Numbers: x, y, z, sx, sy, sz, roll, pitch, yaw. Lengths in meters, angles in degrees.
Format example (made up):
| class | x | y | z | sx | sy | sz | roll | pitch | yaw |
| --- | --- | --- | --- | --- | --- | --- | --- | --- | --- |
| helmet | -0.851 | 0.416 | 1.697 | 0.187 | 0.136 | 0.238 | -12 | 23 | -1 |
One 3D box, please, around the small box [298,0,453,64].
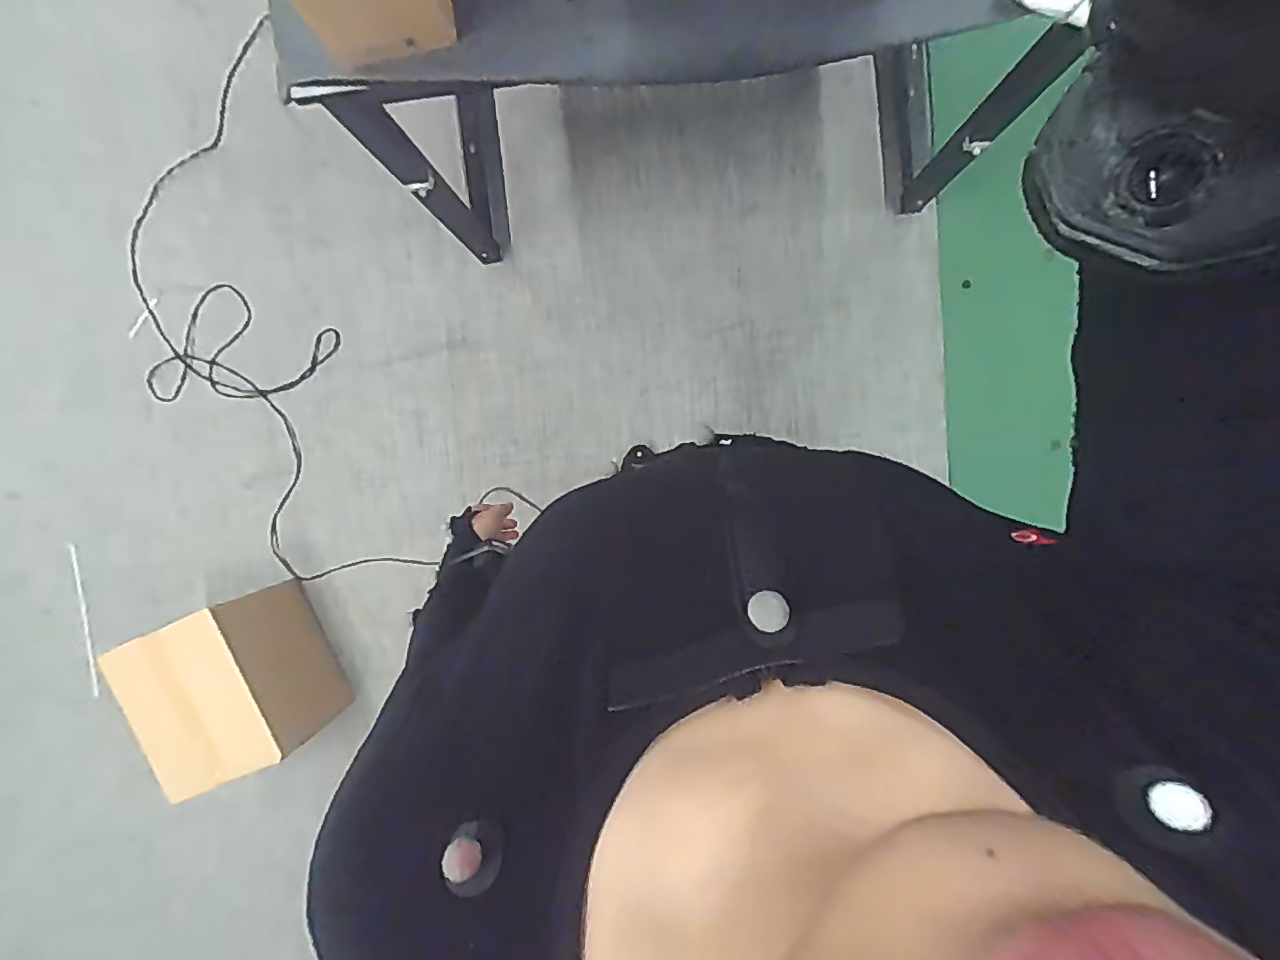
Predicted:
| class | x | y | z | sx | sy | sz | roll | pitch | yaw |
| --- | --- | --- | --- | --- | --- | --- | --- | --- | --- |
| small box | -0.352 | -0.670 | 0.664 | 0.168 | 0.176 | 0.179 | -10 | 93 | 3 |
